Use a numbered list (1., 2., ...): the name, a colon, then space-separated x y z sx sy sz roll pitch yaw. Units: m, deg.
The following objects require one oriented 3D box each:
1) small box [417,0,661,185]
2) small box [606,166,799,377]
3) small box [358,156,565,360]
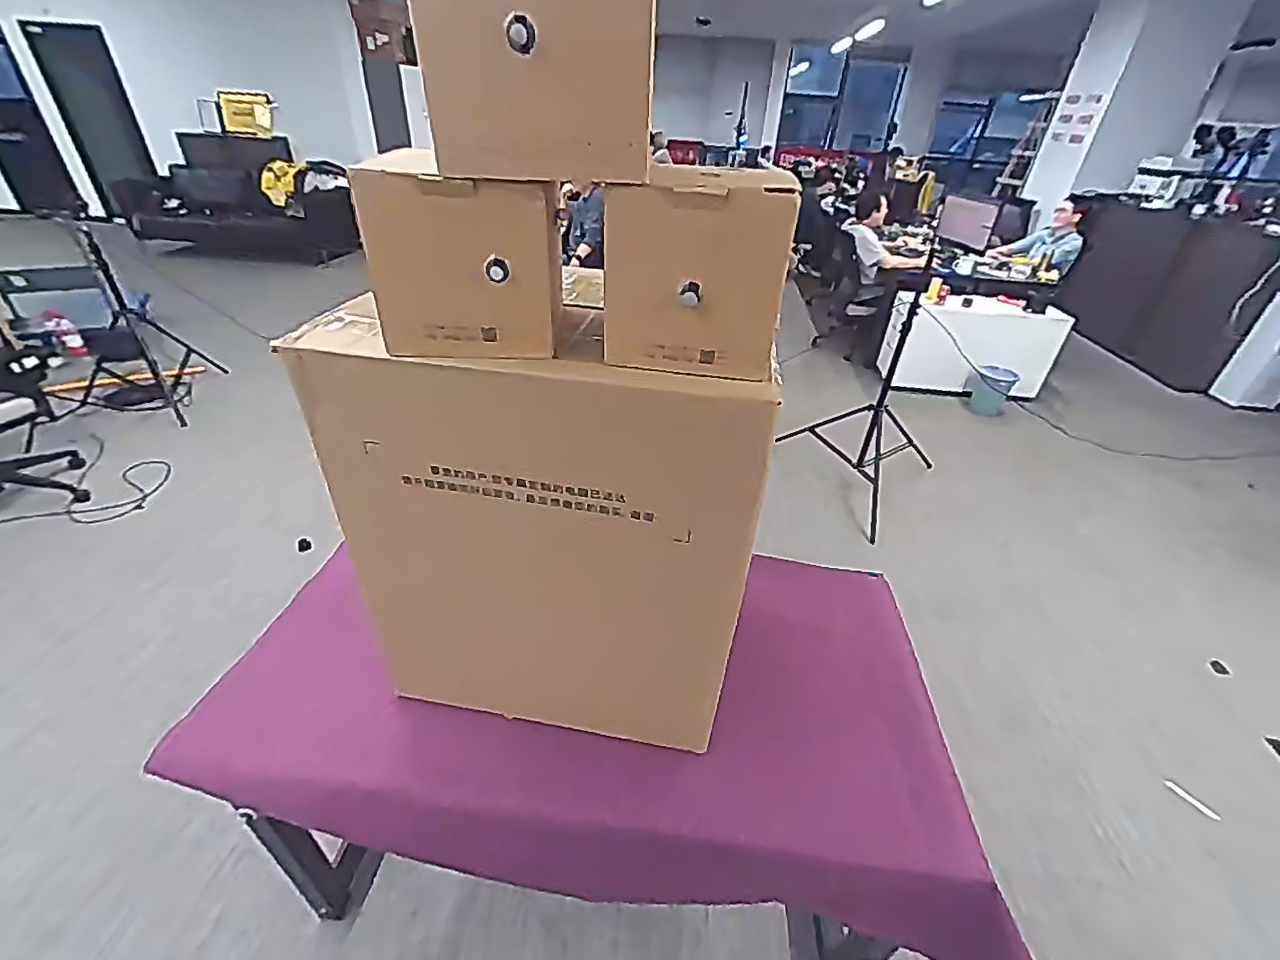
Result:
1. small box: -0.072 -0.359 0.468 0.179 0.176 0.168 1 35 1
2. small box: 0.064 -0.221 0.565 0.168 0.176 0.179 8 36 6
3. small box: -0.168 -0.237 0.575 0.168 0.176 0.179 1 34 -5
